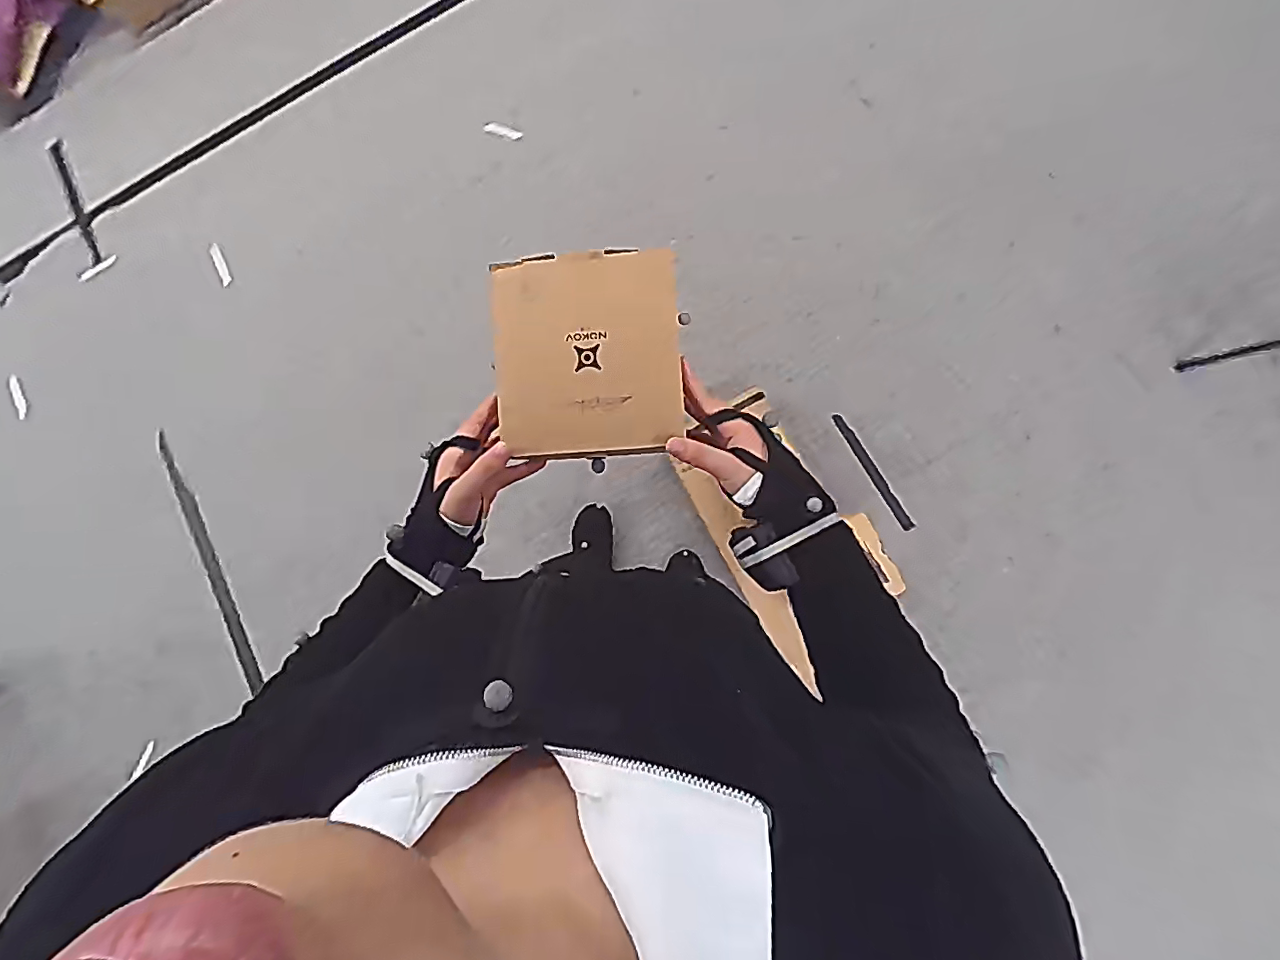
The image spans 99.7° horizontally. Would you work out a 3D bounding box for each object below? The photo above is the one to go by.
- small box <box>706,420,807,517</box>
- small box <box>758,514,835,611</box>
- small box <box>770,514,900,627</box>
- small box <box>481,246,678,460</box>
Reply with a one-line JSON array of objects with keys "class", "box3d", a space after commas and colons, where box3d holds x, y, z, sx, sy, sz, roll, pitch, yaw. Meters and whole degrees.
[{"class": "small box", "box3d": [0.275, -0.019, 1.314, 0.179, 0.176, 0.168, -31, 82, 2]}, {"class": "small box", "box3d": [0.399, 0.193, 1.278, 0.179, 0.176, 0.168, -29, 81, 1]}, {"class": "small box", "box3d": [0.389, 0.181, 1.114, 0.179, 0.176, 0.168, -26, 81, 2]}, {"class": "small box", "box3d": [-0.052, -0.113, 0.551, 0.168, 0.176, 0.179, -4, 92, 2]}]
